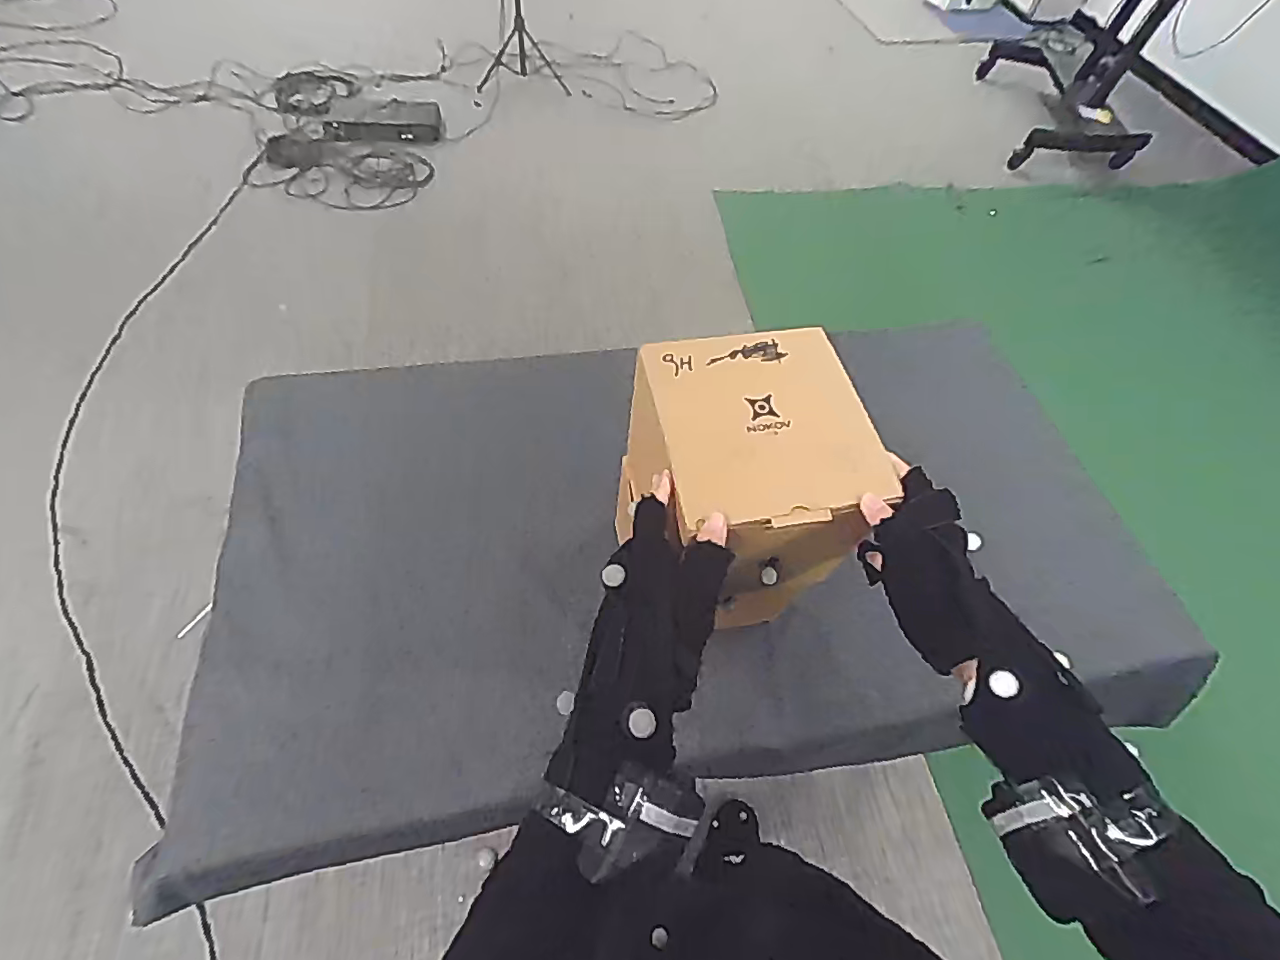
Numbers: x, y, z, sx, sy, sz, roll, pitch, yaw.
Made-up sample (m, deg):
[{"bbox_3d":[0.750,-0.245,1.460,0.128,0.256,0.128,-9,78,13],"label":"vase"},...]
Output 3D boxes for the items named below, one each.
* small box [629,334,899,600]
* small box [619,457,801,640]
[{"bbox_3d":[0.087,-0.002,0.483,0.168,0.176,0.179,-8,62,-10],"label":"small box"},{"bbox_3d":[0.072,0.076,0.626,0.179,0.176,0.168,-7,61,-10],"label":"small box"}]
